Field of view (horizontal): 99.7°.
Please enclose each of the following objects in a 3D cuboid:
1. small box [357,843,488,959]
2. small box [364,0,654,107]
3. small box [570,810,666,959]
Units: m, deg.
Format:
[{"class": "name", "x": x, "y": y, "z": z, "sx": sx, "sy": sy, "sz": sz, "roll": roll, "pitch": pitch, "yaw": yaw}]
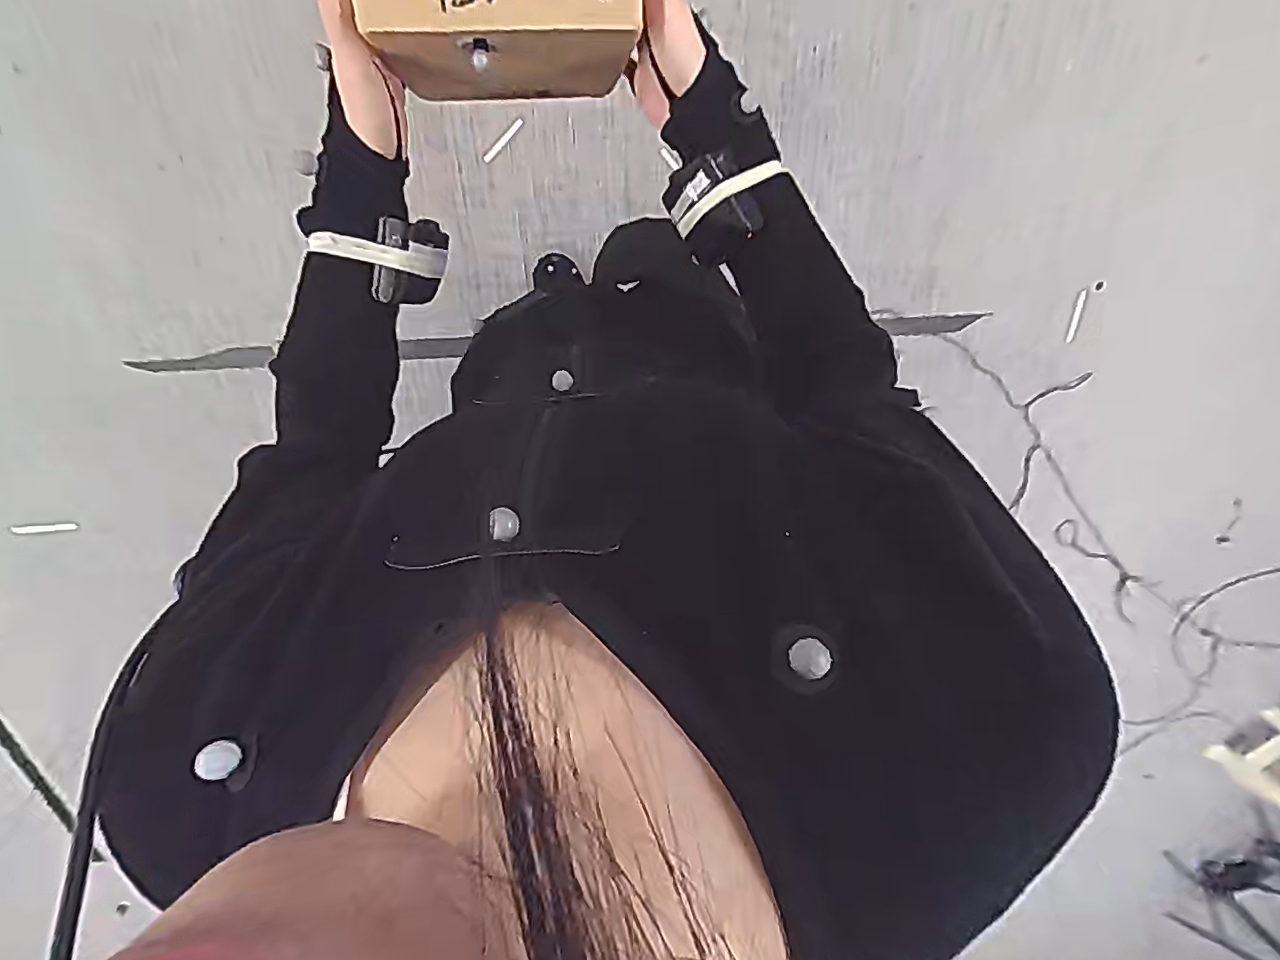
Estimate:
[{"class": "small box", "x": -0.389, "y": 0.811, "z": 0.999, "sx": 0.179, "sy": 0.176, "sz": 0.168, "roll": -4, "pitch": 116, "yaw": -7}, {"class": "small box", "x": -0.088, "y": -0.370, "z": 0.354, "sx": 0.168, "sy": 0.176, "sz": 0.179, "roll": -6, "pitch": 114, "yaw": -9}, {"class": "small box", "x": -0.046, "y": 0.753, "z": 1.024, "sx": 0.168, "sy": 0.176, "sz": 0.179, "roll": -4, "pitch": 117, "yaw": -5}]
